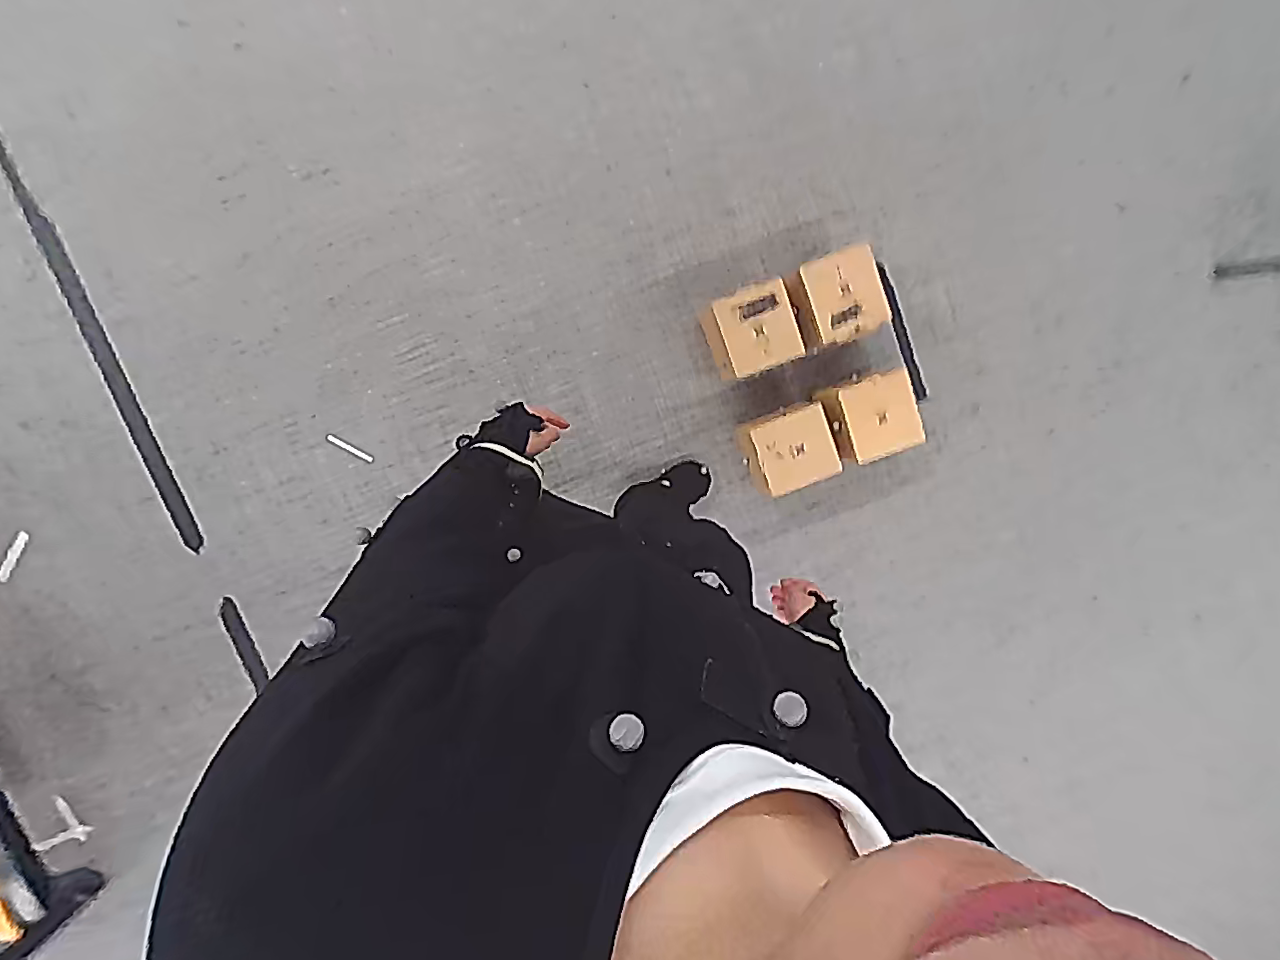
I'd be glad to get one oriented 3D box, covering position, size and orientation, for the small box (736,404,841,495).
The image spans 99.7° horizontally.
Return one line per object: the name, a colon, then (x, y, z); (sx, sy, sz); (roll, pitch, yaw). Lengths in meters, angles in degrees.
small box: (0.352, -0.080, 1.308); (0.179, 0.176, 0.168); (-21, 97, 0)
